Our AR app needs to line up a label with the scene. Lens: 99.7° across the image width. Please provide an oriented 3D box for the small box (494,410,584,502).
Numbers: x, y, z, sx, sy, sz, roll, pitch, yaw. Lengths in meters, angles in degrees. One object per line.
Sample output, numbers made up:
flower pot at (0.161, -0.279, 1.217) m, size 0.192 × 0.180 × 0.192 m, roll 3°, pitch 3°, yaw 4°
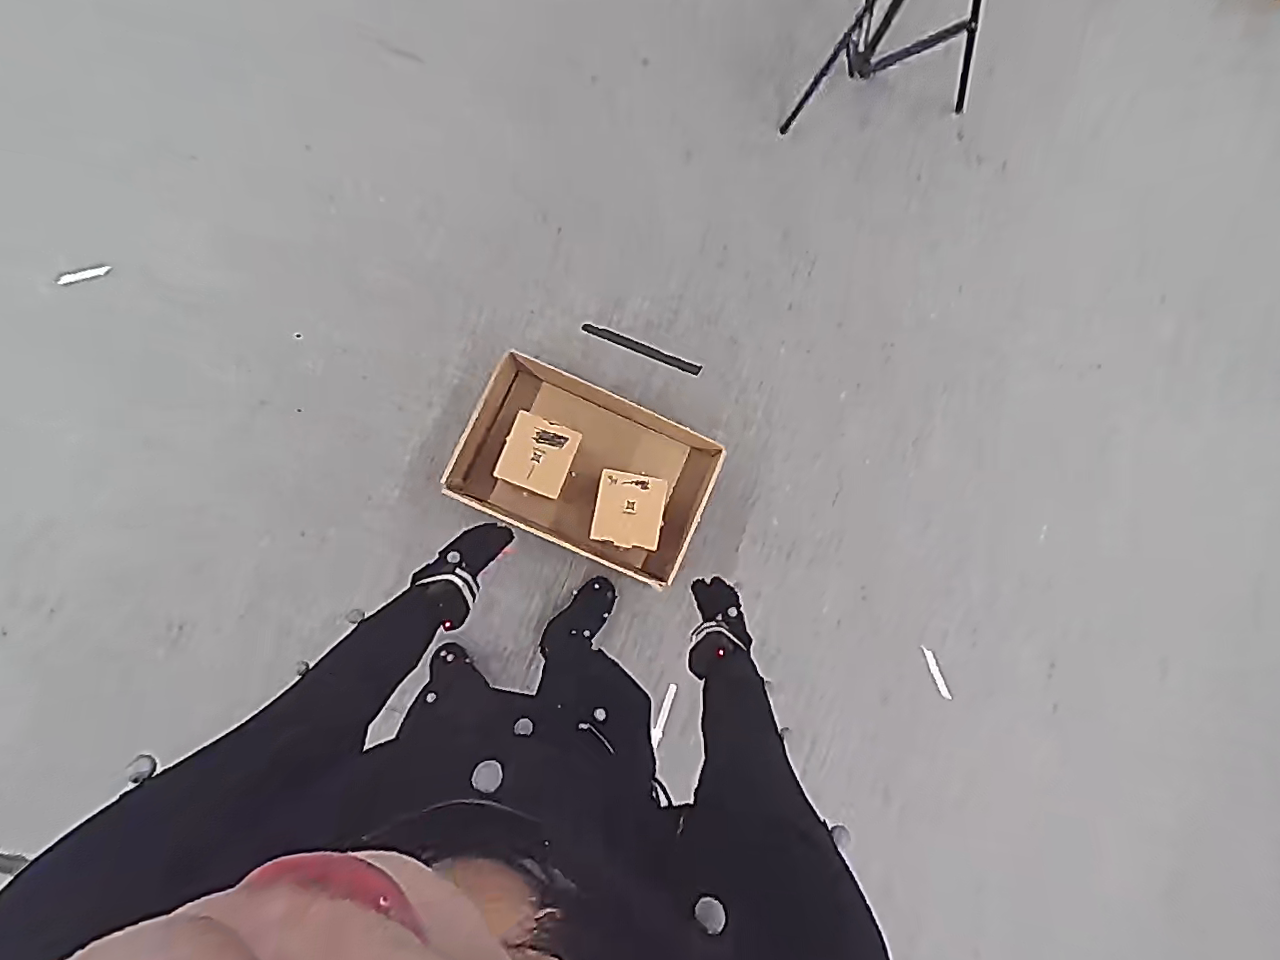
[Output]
small box at (-0.252, -0.053, 1.379) m, size 0.168 × 0.176 × 0.179 m, roll 22°, pitch 83°, yaw -3°
